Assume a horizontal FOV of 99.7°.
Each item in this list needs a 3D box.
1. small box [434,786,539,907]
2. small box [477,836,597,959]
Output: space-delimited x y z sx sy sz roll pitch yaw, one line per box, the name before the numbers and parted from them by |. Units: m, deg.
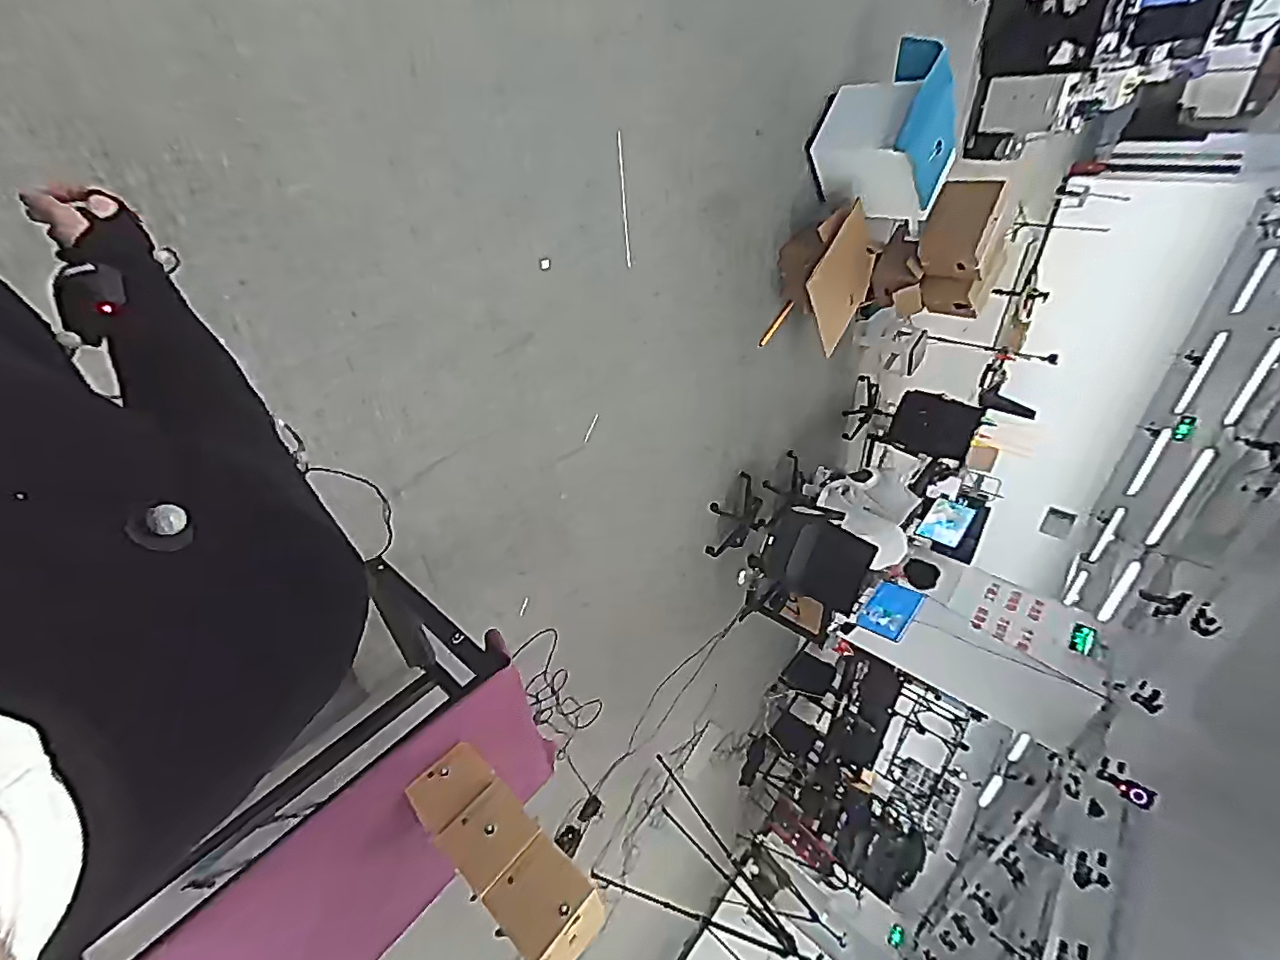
small box | -0.336 0.834 1.220 0.168 0.176 0.179 -35 135 -35
small box | -0.213 0.898 1.132 0.168 0.176 0.179 -37 137 -35
